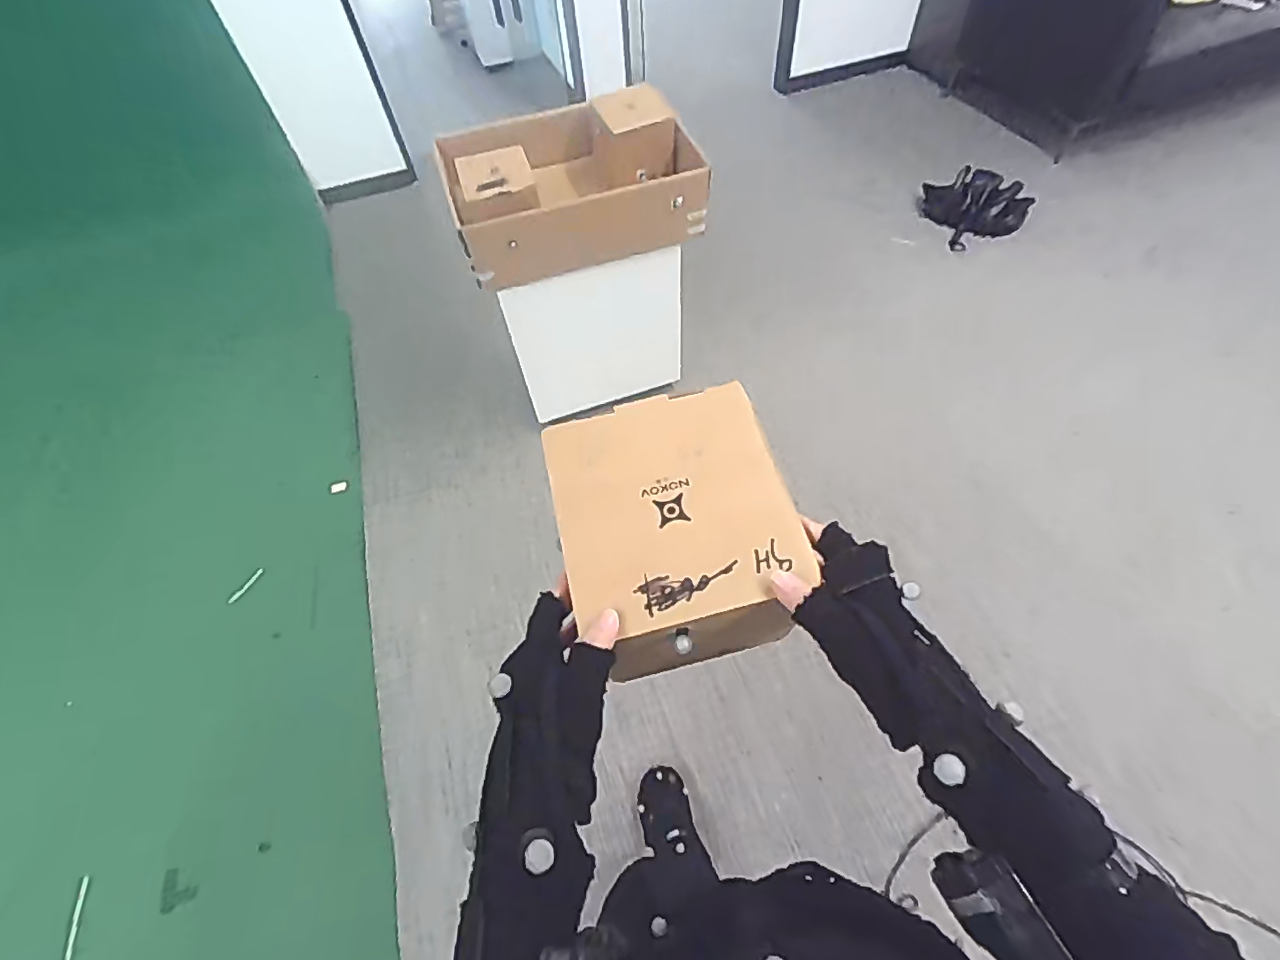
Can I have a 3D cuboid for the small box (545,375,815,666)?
[{"bbox_3d":[0.027,0.043,0.467,0.168,0.176,0.179,-15,62,-1],"label":"small box"}]
